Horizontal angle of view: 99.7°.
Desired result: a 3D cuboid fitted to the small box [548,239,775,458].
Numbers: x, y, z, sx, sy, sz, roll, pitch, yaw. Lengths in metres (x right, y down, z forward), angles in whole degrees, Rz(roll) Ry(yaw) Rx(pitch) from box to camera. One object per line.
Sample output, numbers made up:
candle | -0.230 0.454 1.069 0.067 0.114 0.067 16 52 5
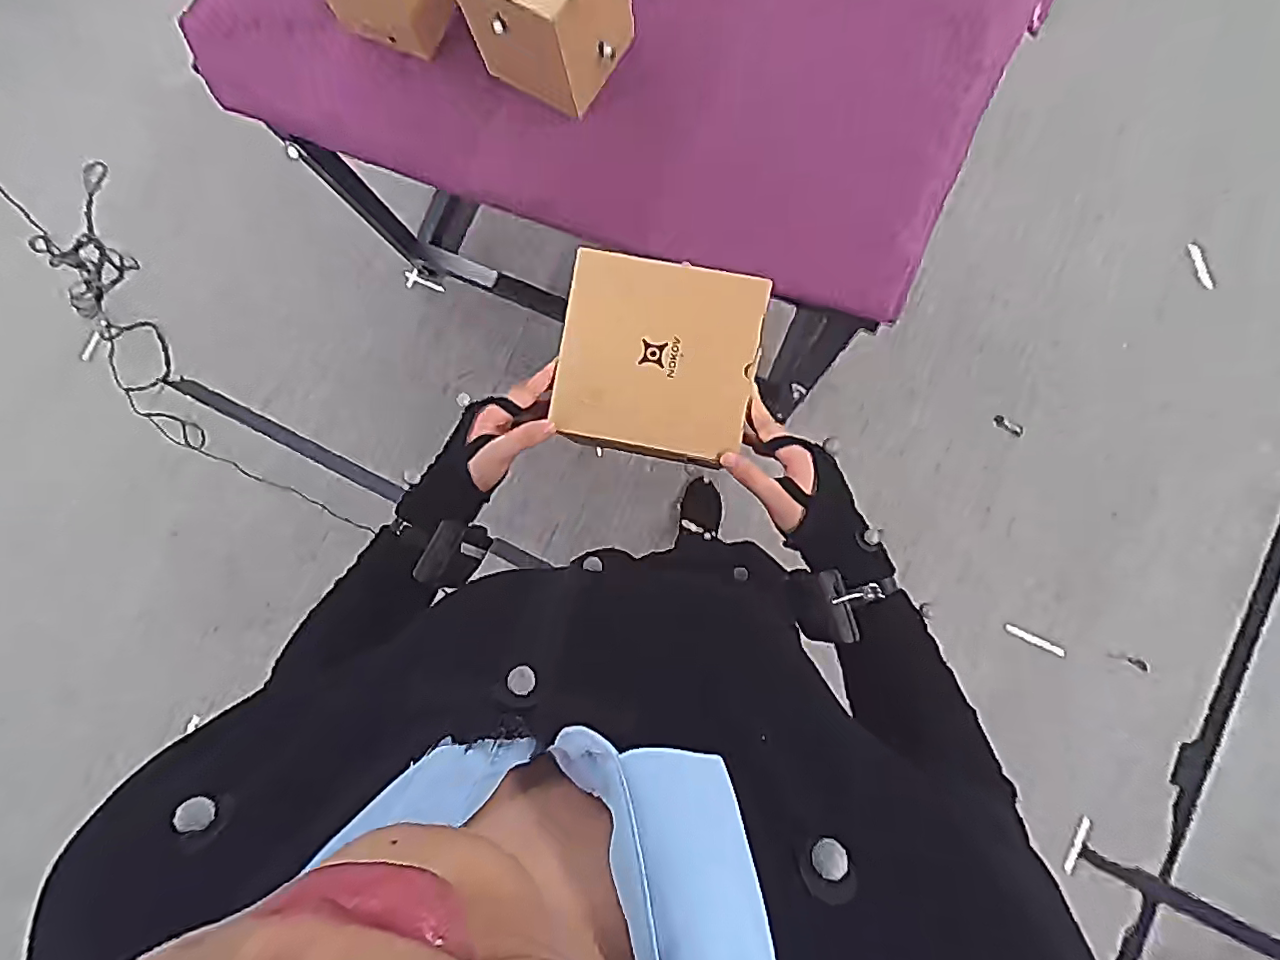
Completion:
small box | 0.021 -0.117 0.550 0.179 0.176 0.168 10 90 2

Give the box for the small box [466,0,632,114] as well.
small box | -0.129 -0.675 0.770 0.179 0.176 0.168 32 88 7
